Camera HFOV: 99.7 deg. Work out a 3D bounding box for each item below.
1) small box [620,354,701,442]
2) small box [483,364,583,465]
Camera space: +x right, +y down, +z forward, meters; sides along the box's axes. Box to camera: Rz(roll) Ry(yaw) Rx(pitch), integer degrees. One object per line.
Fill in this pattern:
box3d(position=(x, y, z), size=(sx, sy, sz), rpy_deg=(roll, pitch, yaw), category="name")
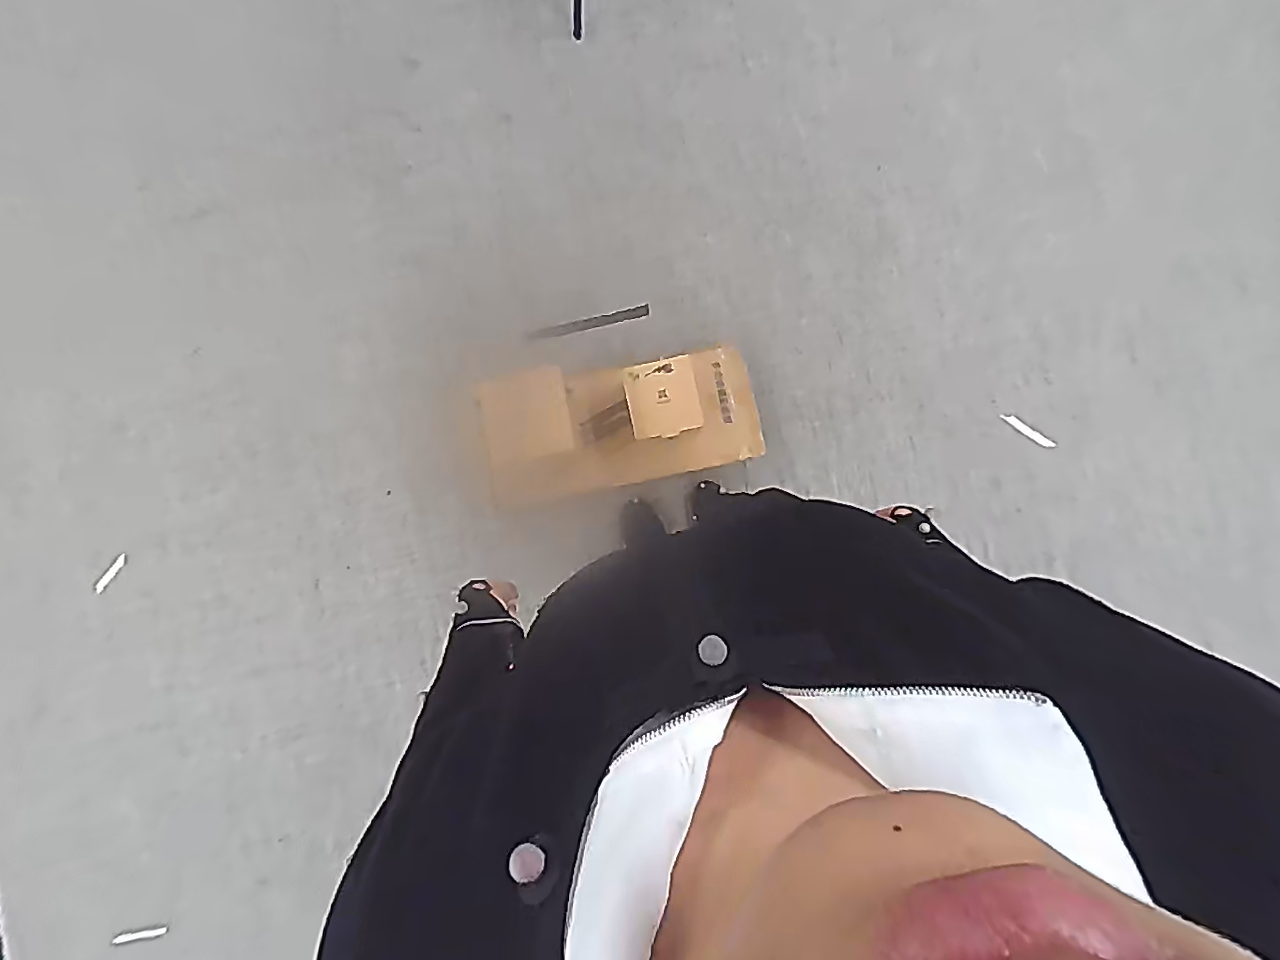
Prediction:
box3d(position=(0.054, -0.193, 1.332), size=(0.168, 0.176, 0.179), rpy_deg=(-11, 89, 3), category="small box")
box3d(position=(-0.224, -0.135, 1.170), size=(0.168, 0.176, 0.179), rpy_deg=(-11, 88, 1), category="small box")
